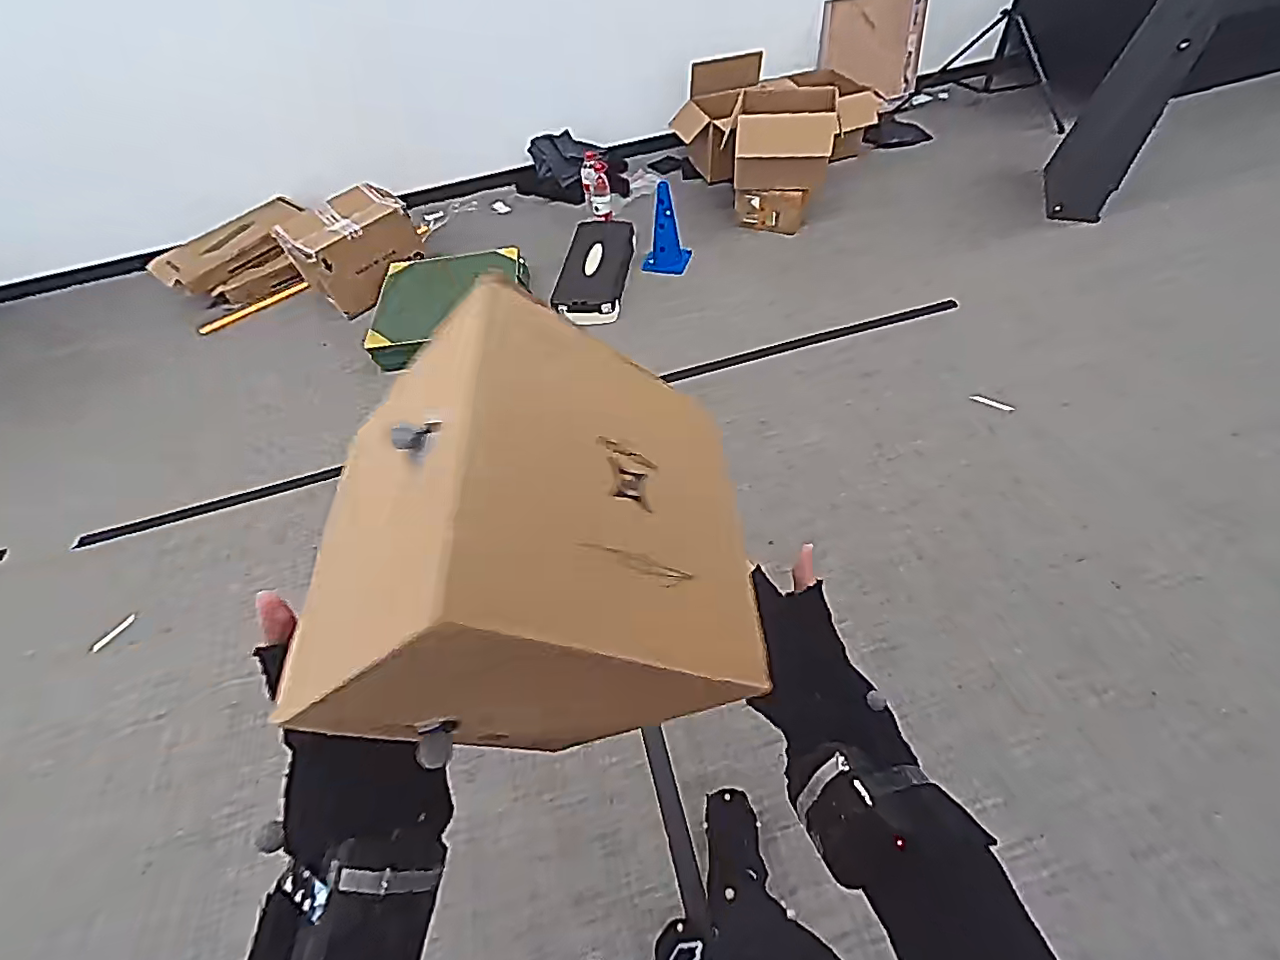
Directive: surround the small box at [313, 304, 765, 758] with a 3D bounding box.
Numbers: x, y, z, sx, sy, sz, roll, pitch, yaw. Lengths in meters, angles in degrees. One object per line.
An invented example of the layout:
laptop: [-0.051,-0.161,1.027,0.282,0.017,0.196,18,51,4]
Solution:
small box: [-0.057,0.045,0.314,0.176,0.168,0.179,-33,45,33]
